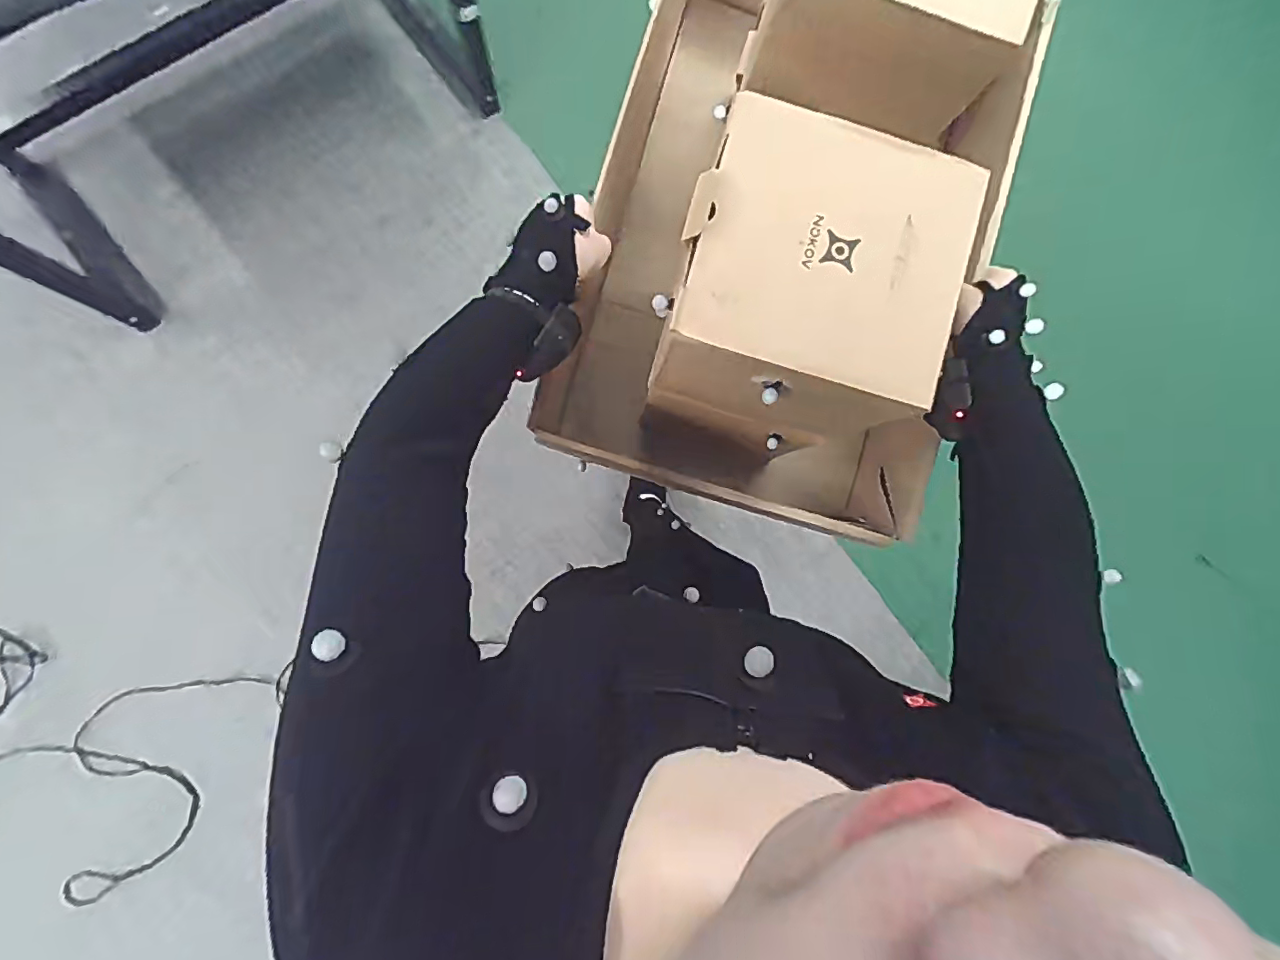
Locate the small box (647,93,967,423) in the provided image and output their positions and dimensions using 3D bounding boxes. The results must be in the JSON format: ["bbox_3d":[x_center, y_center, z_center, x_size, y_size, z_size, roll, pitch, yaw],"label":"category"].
[{"bbox_3d":[0.111,-0.151,0.433,0.179,0.176,0.168,15,88,-5],"label":"small box"}]
